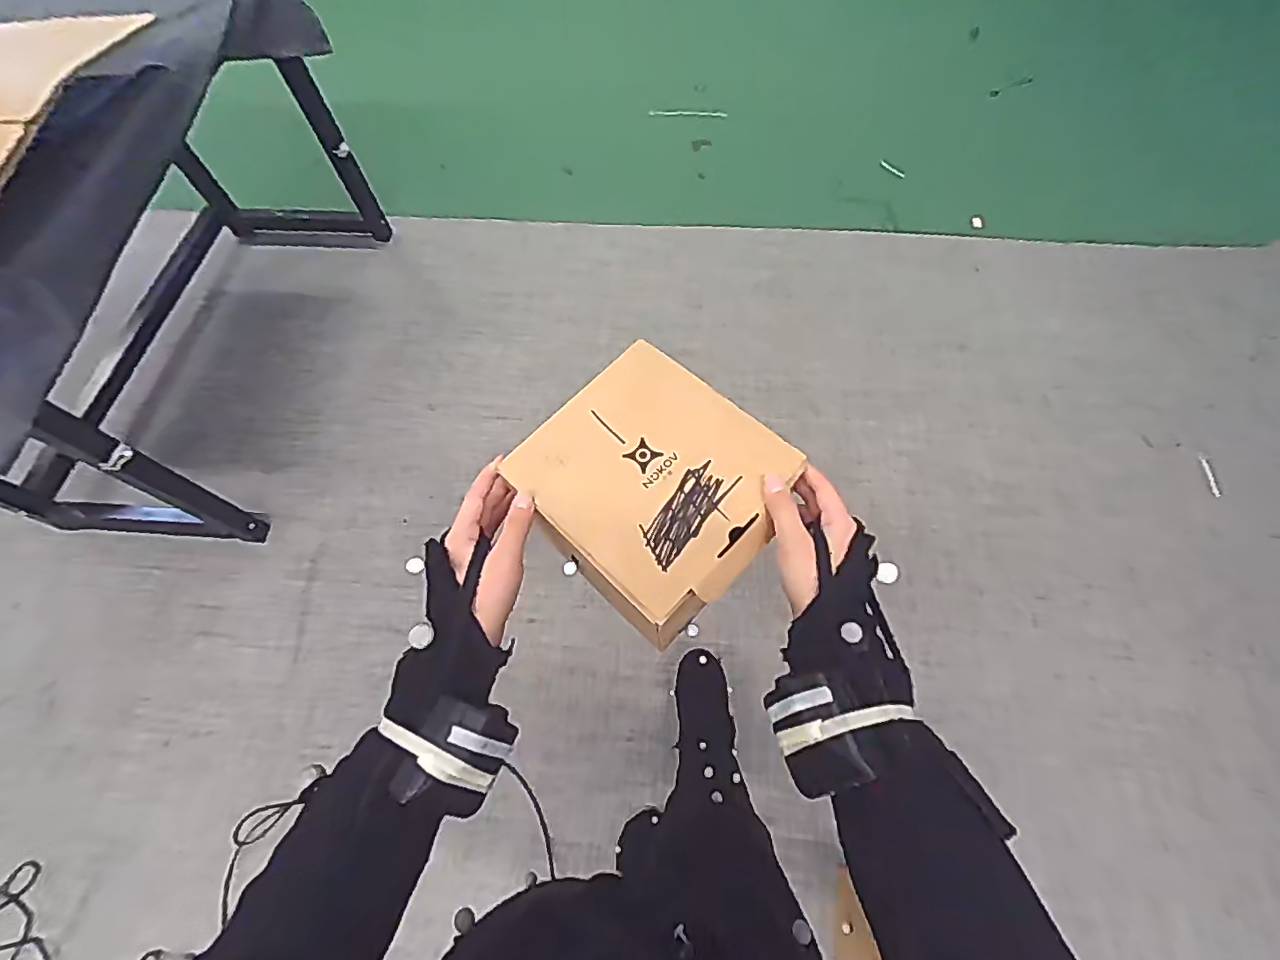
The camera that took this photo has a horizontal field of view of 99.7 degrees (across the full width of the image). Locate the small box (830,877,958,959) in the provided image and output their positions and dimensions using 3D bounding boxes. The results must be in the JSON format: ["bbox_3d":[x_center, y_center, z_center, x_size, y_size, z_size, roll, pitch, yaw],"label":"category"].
[{"bbox_3d":[0.440,0.825,0.949,0.168,0.176,0.179,7,63,5],"label":"small box"}]
